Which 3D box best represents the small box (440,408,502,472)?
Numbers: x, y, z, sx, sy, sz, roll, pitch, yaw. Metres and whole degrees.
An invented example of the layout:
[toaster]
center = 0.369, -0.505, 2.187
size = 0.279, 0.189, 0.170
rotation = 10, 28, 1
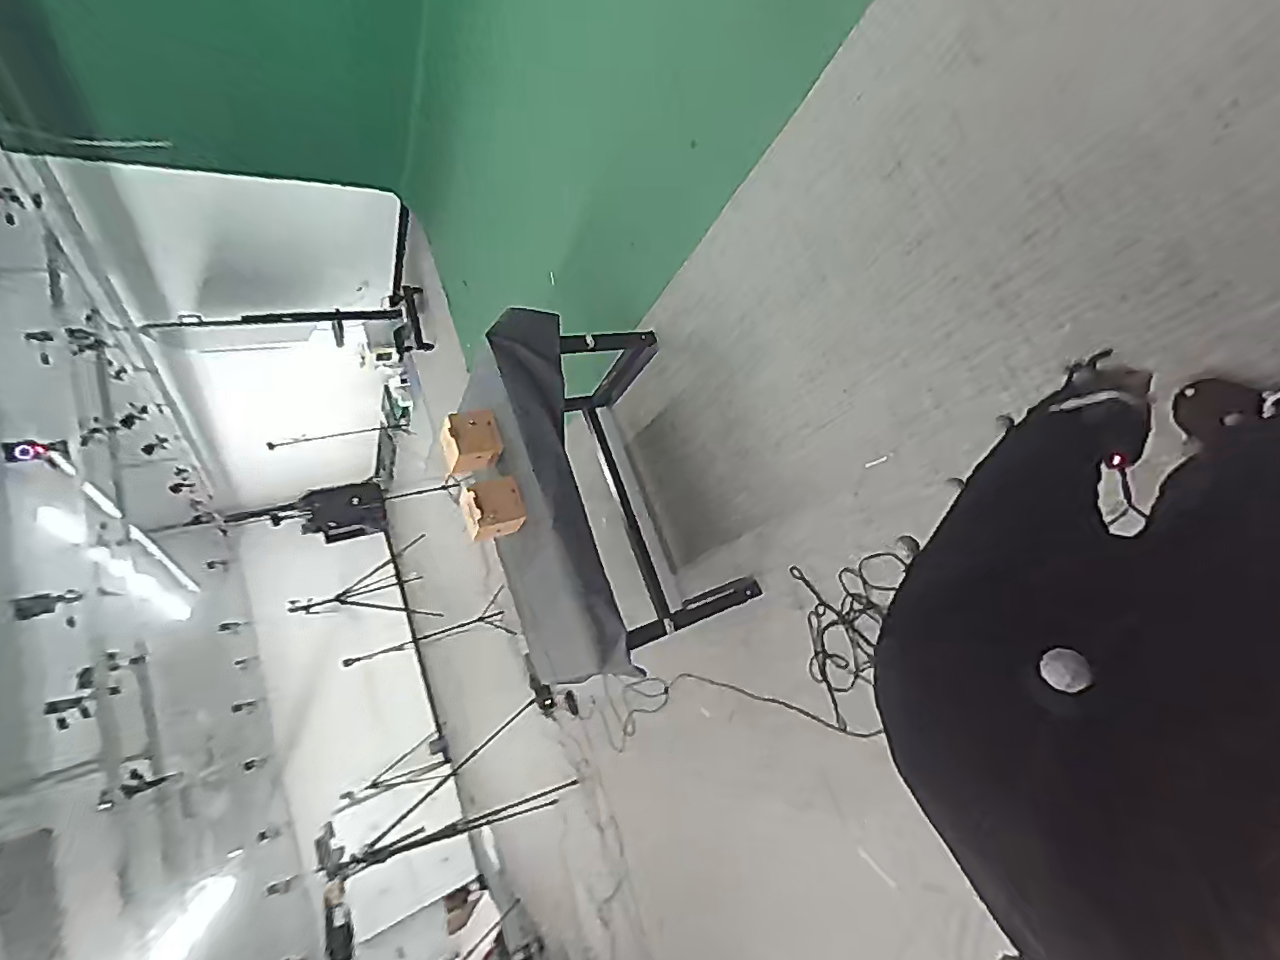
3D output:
[small box]
center = -0.622, -0.150, 1.995
size = 0.179, 0.176, 0.168
rotation = -43, 64, 55
